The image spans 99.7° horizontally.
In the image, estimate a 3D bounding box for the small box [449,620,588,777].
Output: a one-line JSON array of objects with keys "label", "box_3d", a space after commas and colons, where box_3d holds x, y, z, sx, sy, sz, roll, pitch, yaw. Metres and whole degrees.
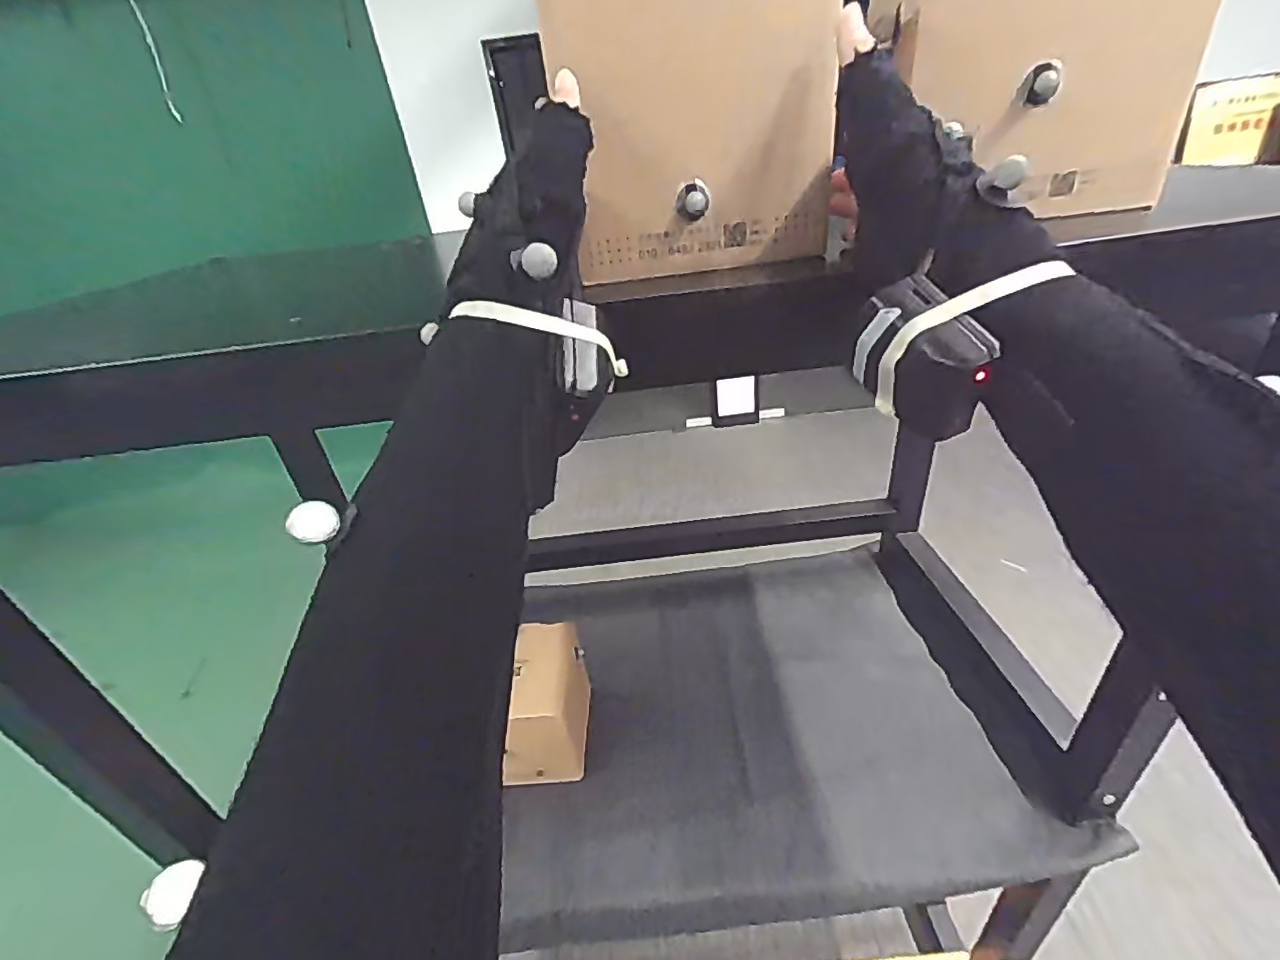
[{"label": "small box", "box_3d": [-0.181, 0.354, 0.869, 0.168, 0.176, 0.179, -5, 30, 3]}]

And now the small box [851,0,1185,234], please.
[{"label": "small box", "box_3d": [0.266, -0.294, 0.419, 0.168, 0.176, 0.179, -1, 31, 11]}]
